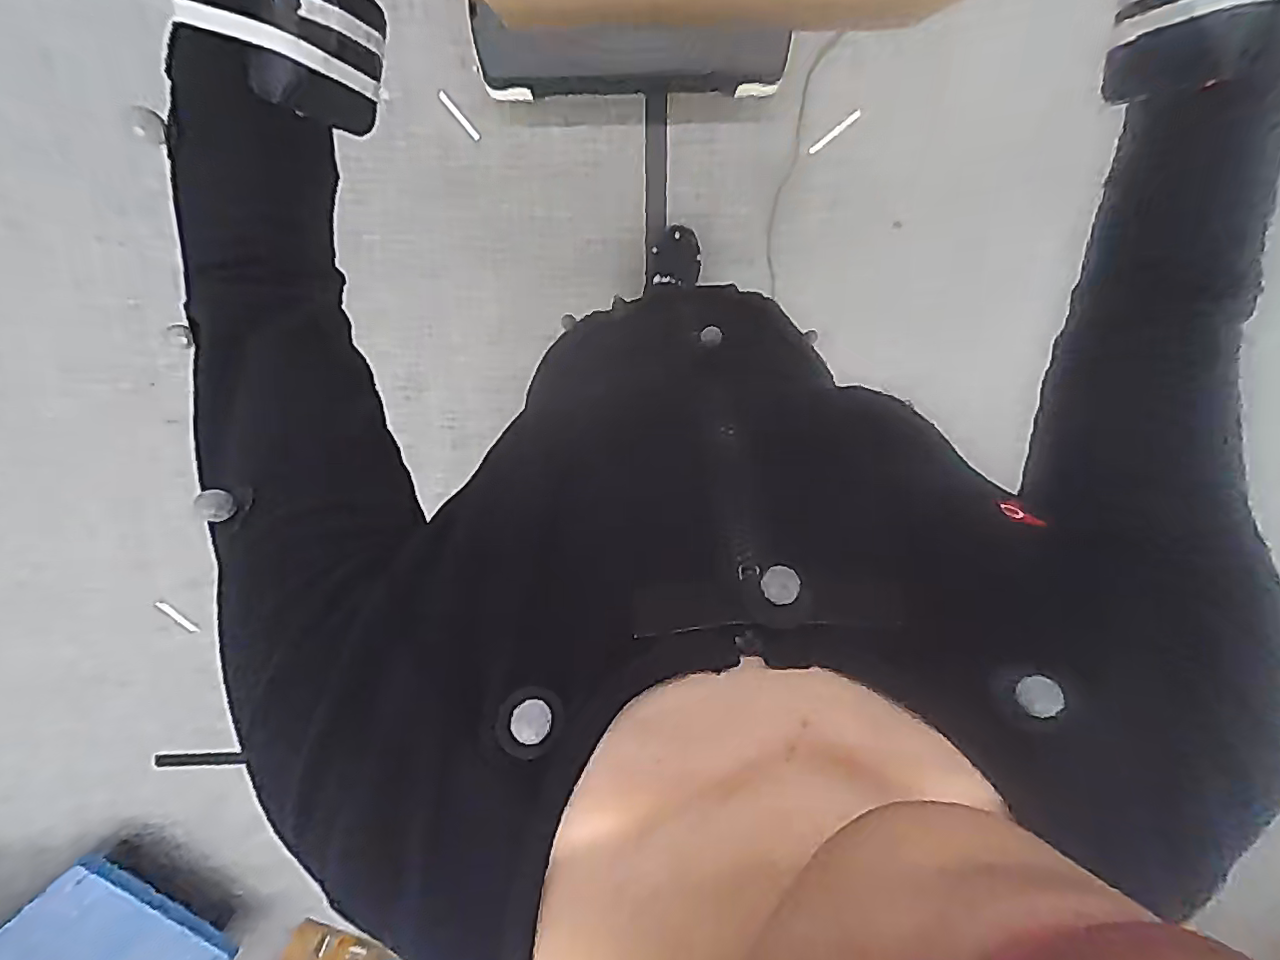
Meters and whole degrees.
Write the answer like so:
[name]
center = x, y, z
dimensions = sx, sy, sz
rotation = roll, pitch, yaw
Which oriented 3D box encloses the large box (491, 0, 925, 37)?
[large box]
center = 0.067, -0.513, 0.336
dimensions = 0.408, 0.320, 0.320
rotation = -3, 120, -1
